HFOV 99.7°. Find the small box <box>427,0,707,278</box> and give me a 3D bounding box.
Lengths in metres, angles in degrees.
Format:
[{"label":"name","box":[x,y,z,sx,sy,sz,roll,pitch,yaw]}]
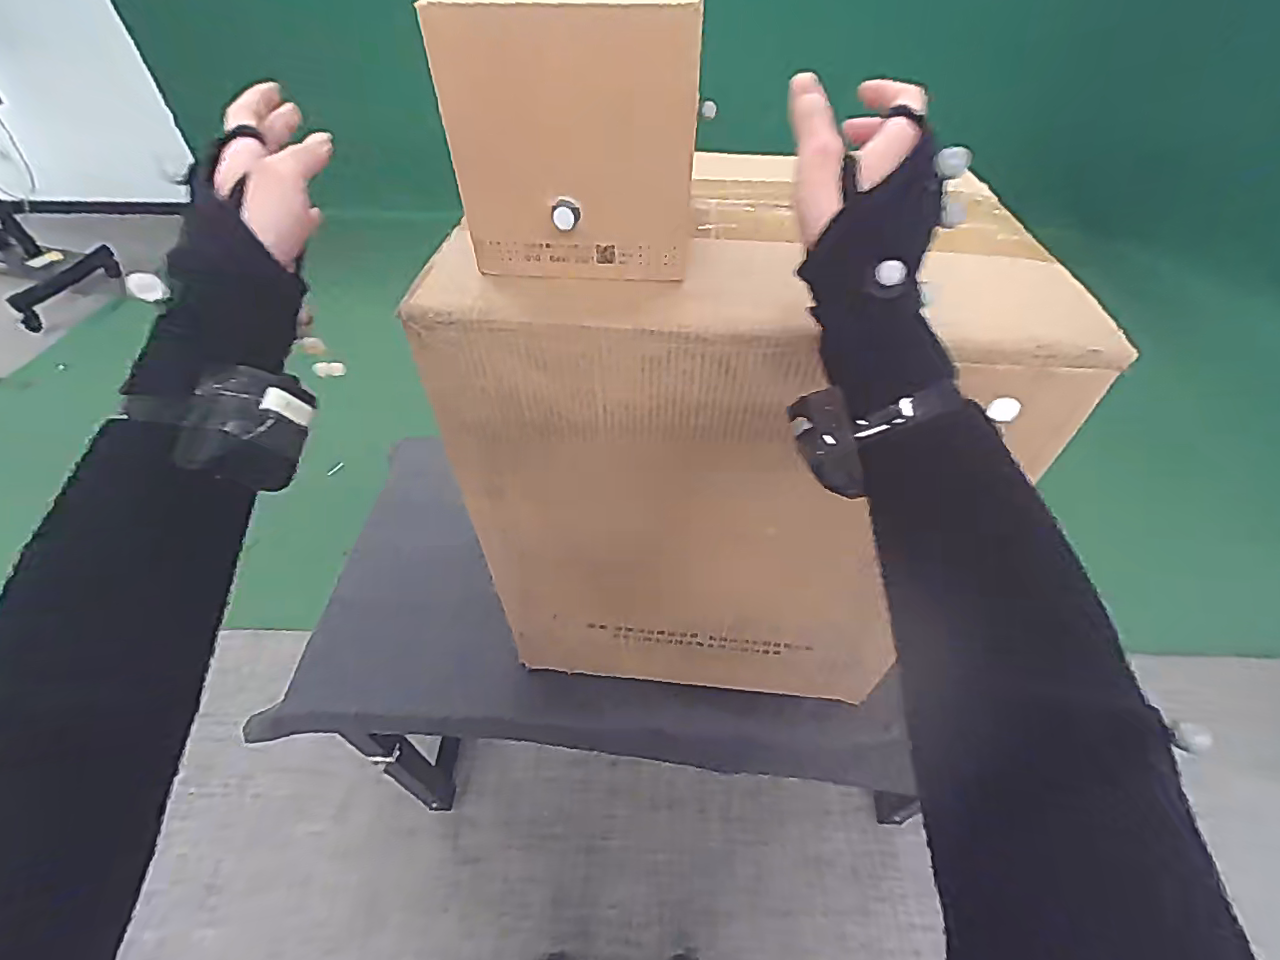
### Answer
[{"label":"small box","box":[-0.038,-0.283,0.425,0.168,0.176,0.179,4,50,4]}]
